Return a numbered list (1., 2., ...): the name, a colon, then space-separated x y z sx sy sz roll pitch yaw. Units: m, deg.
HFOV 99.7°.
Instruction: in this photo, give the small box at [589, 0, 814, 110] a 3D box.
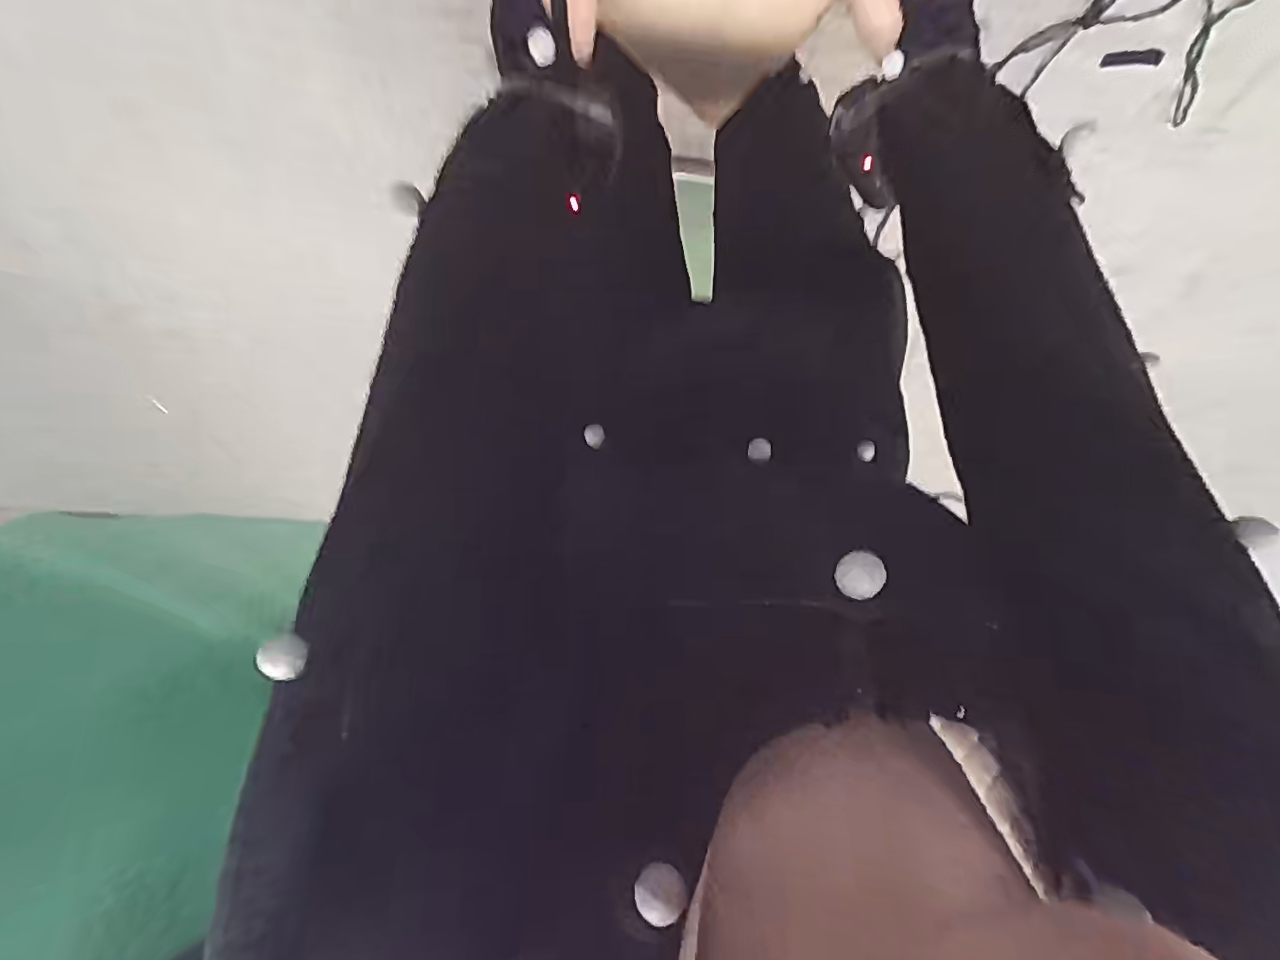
1. small box: 0.046 -0.430 0.381 0.179 0.176 0.168 21 149 -34
